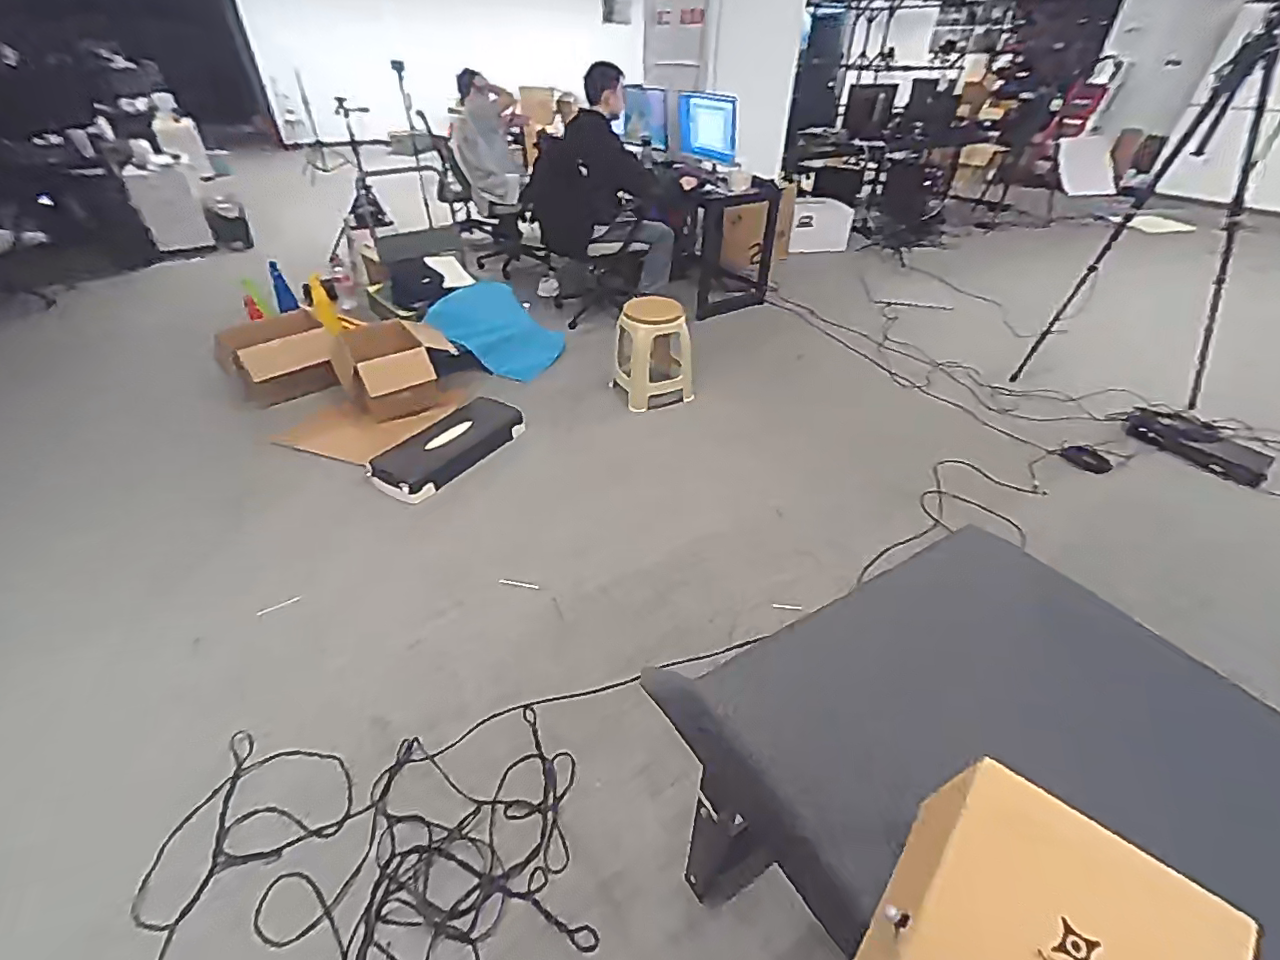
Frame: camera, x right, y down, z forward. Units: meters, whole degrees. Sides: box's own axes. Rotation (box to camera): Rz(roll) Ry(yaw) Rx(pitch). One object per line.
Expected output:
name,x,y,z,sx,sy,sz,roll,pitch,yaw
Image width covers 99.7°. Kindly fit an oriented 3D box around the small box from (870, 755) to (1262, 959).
small box,0.298,0.355,0.412,0.168,0.176,0.179,28,60,29
